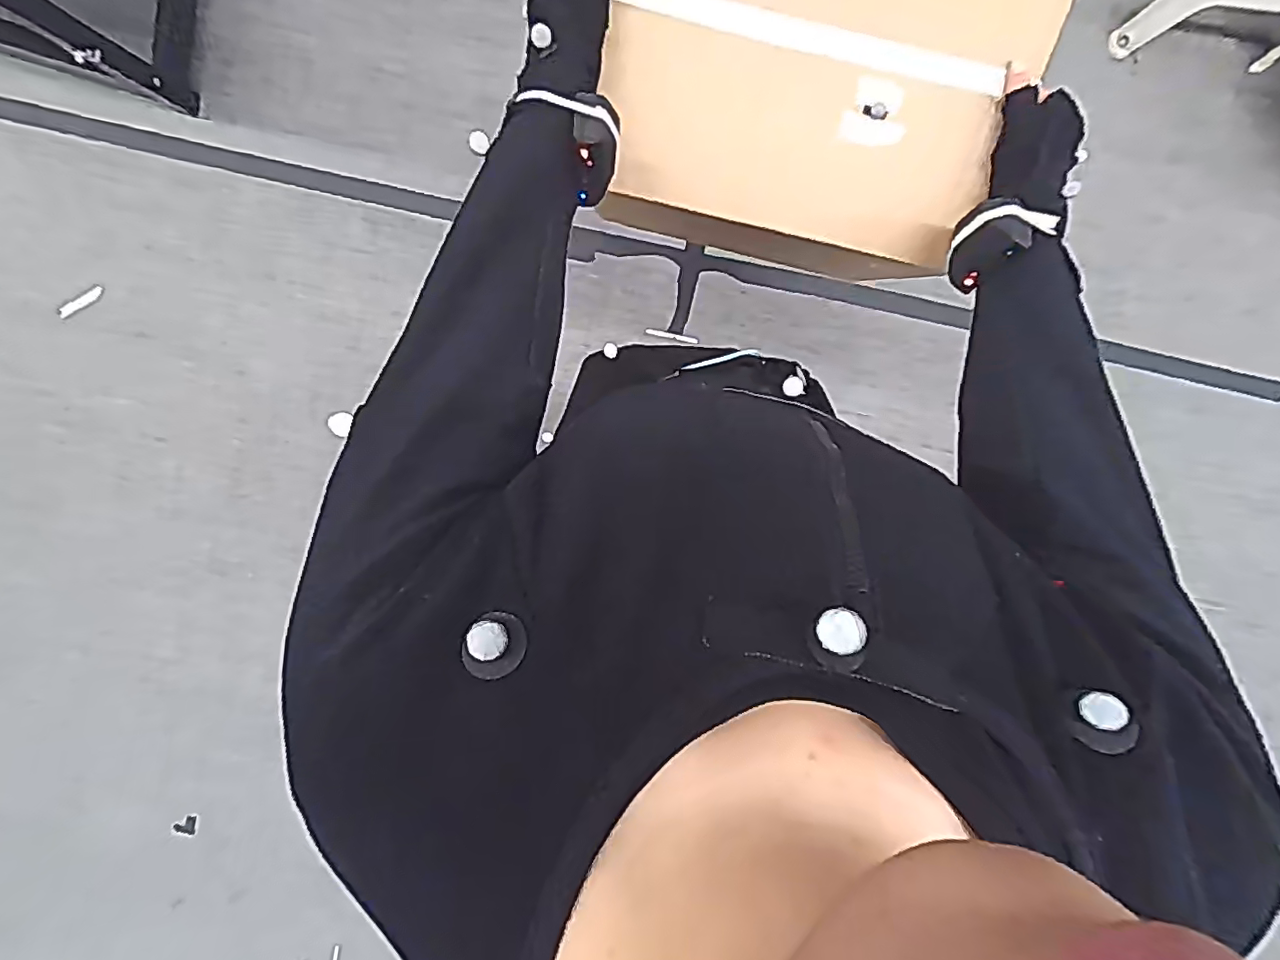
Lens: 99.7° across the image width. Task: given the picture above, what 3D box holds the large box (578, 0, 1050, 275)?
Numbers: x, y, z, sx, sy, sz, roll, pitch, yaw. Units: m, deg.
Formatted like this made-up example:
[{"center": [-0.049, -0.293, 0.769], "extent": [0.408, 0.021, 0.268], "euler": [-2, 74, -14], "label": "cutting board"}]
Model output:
[{"center": [0.159, -0.447, 0.641], "extent": [0.408, 0.320, 0.320], "euler": [12, 110, -4], "label": "large box"}]
